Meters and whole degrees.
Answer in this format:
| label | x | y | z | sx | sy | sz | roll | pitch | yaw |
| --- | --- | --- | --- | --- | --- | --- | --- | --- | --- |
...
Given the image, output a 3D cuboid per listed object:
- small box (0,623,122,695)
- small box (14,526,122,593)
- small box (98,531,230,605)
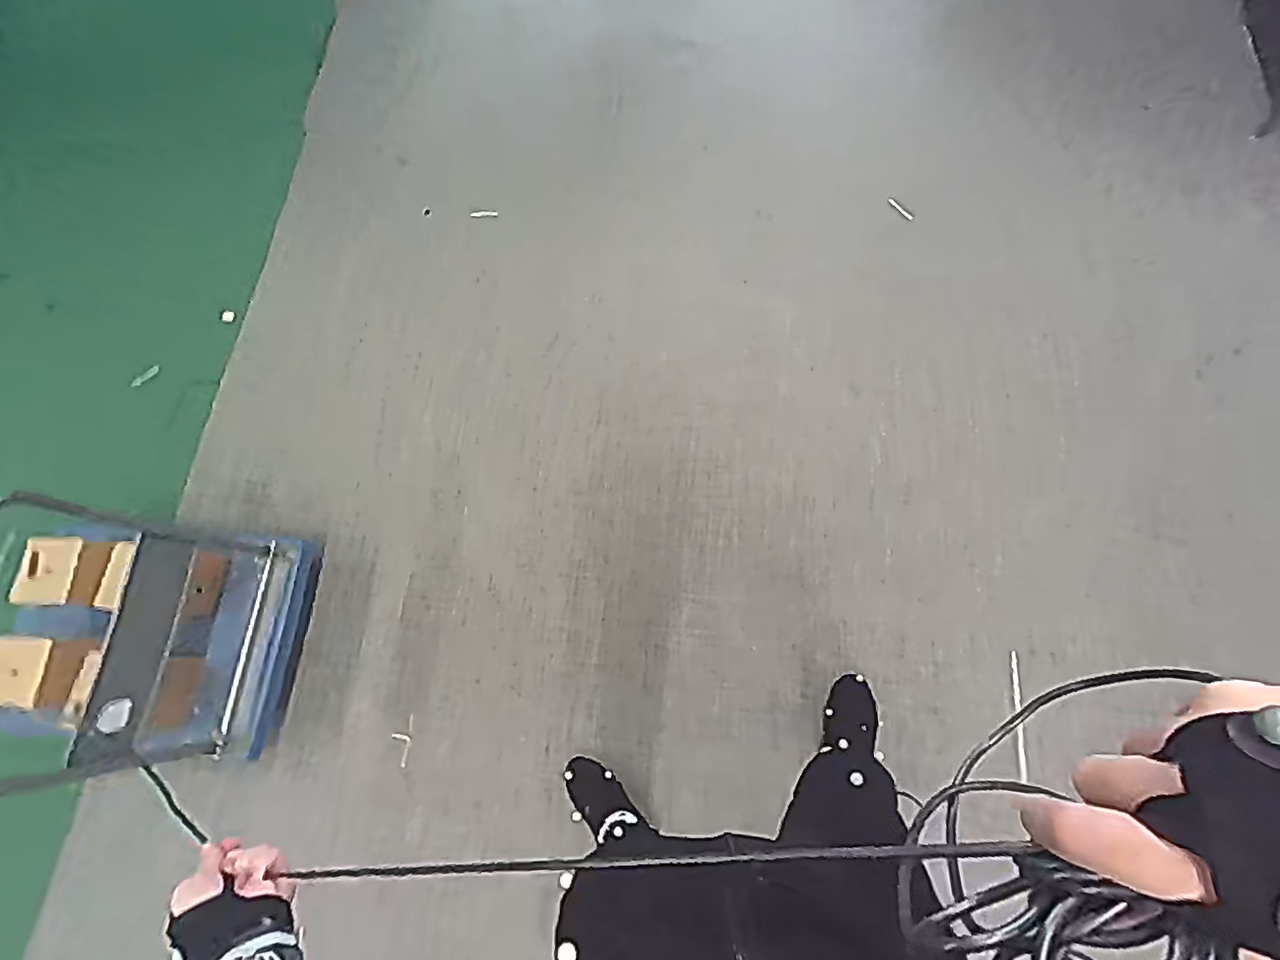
| label | x | y | z | sx | sy | sz | roll | pitch | yaw |
| --- | --- | --- | --- | --- | --- | --- | --- | --- | --- |
| small box | -1.533 | 0.465 | 1.418 | 0.179 | 0.176 | 0.168 | 0 | 73 | 9 |
| small box | -1.525 | 0.223 | 1.488 | 0.179 | 0.176 | 0.168 | 0 | 74 | 8 |
| small box | -1.259 | 0.239 | 1.442 | 0.179 | 0.176 | 0.168 | 4 | 74 | 9 |
